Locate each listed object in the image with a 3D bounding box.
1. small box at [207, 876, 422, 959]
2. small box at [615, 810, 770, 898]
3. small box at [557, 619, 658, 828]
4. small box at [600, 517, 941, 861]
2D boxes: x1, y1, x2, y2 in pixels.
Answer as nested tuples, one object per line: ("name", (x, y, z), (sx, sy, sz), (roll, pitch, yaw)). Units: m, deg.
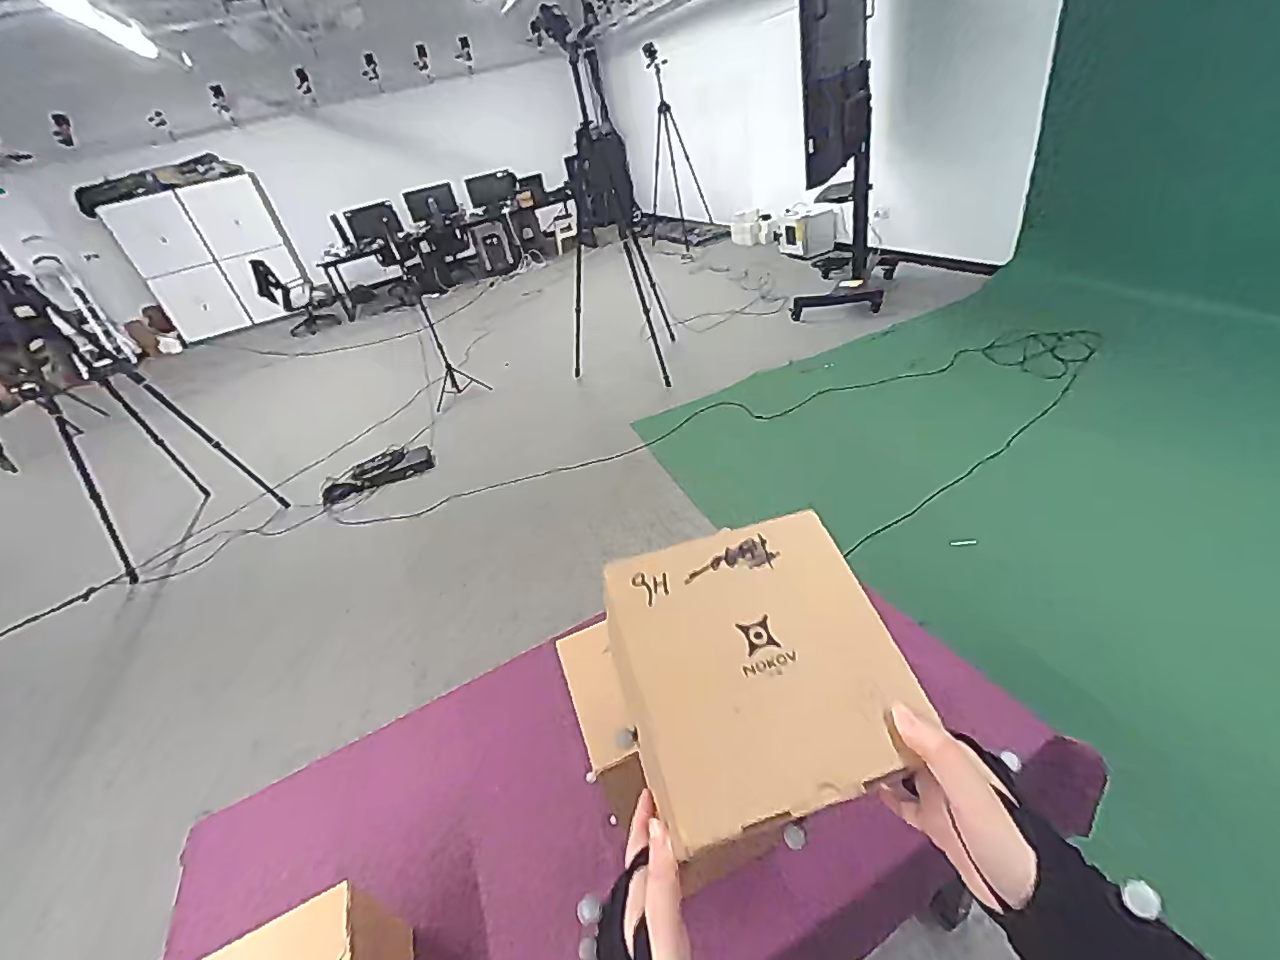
("small box", (-0.361, 0.603, 0.600), (0.179, 0.176, 0.168), (-24, 35, -14))
("small box", (0.058, 0.405, 0.718), (0.179, 0.176, 0.168), (-22, 35, -10))
("small box", (0.020, 0.270, 0.635), (0.168, 0.176, 0.179), (-21, 34, -10))
("small box", (0.074, 0.159, 0.408), (0.168, 0.176, 0.179), (-14, 55, -9))
